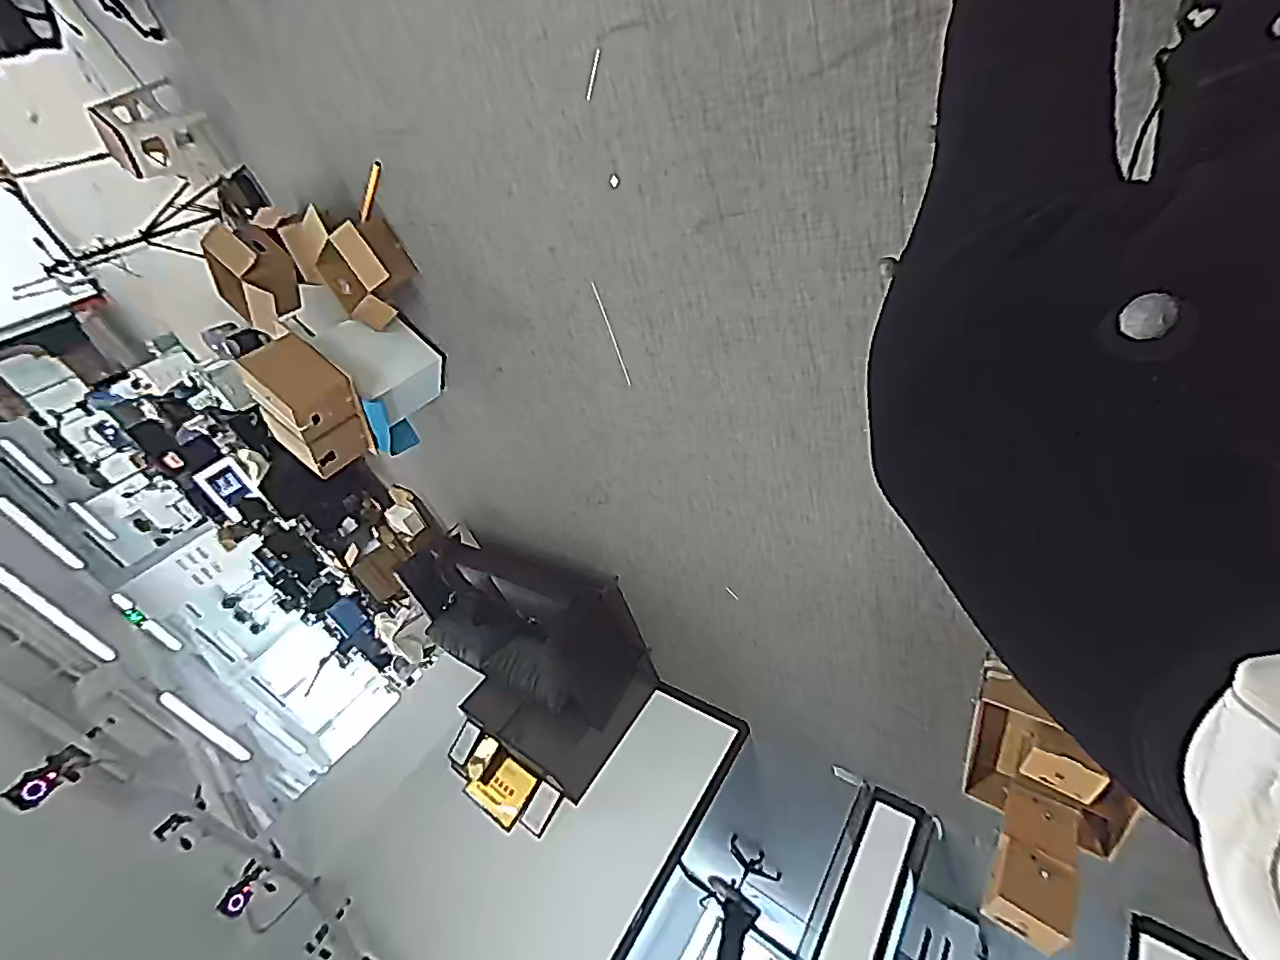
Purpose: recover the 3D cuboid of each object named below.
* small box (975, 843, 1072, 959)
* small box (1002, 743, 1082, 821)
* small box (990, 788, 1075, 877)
[{"bbox_3d":[1.044,1.142,1.470,0.168,0.176,0.179,21,137,32],"label":"small box"},{"bbox_3d":[1.233,0.954,1.658,0.168,0.176,0.179,12,133,38],"label":"small box"},{"bbox_3d":[1.137,1.045,1.564,0.168,0.176,0.179,13,133,39],"label":"small box"}]
